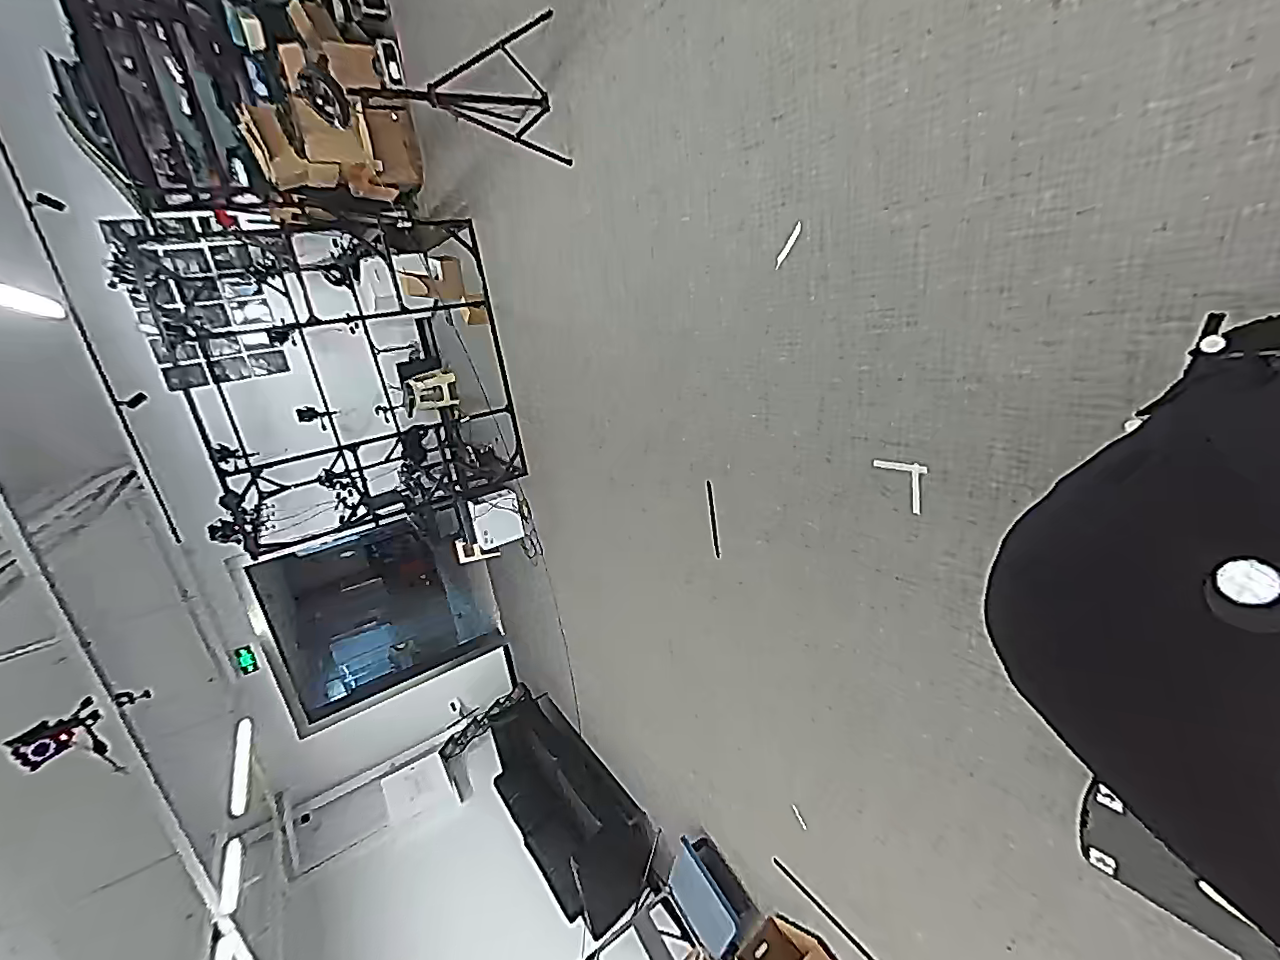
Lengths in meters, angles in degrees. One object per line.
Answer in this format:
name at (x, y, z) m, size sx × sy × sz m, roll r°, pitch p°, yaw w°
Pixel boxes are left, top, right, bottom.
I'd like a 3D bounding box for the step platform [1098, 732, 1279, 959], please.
step platform at (1.328, 0.809, 1.039) m, size 0.684 × 0.204 × 0.286 m, roll 18°, pitch 121°, yaw 57°
